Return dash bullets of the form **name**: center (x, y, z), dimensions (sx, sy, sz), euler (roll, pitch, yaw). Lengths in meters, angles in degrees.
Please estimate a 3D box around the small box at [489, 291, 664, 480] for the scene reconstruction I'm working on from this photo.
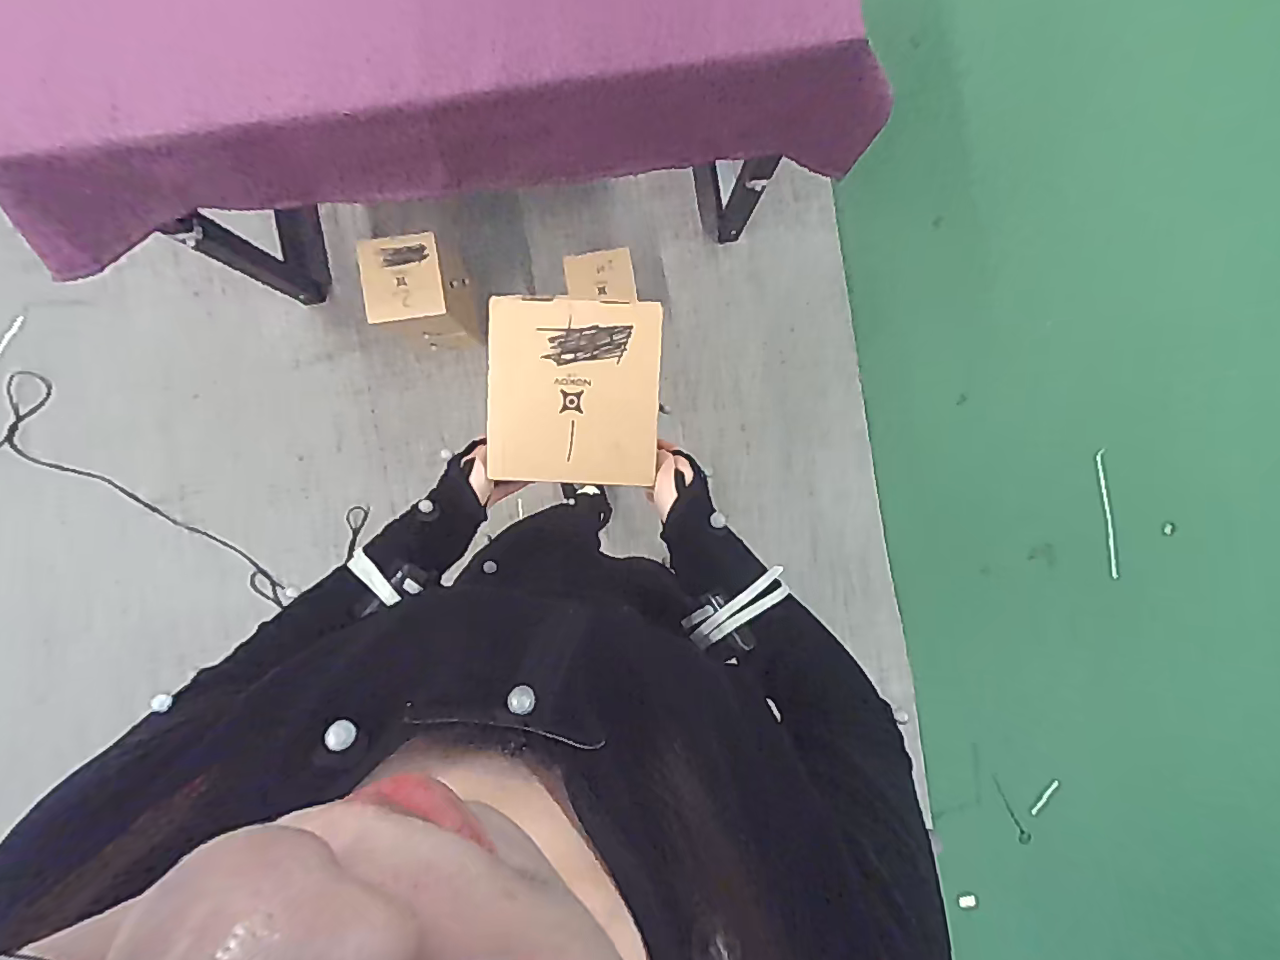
- **small box**: center (-0.062, -0.099, 0.607), dimensions (0.168, 0.176, 0.179), euler (3, 97, 1)
